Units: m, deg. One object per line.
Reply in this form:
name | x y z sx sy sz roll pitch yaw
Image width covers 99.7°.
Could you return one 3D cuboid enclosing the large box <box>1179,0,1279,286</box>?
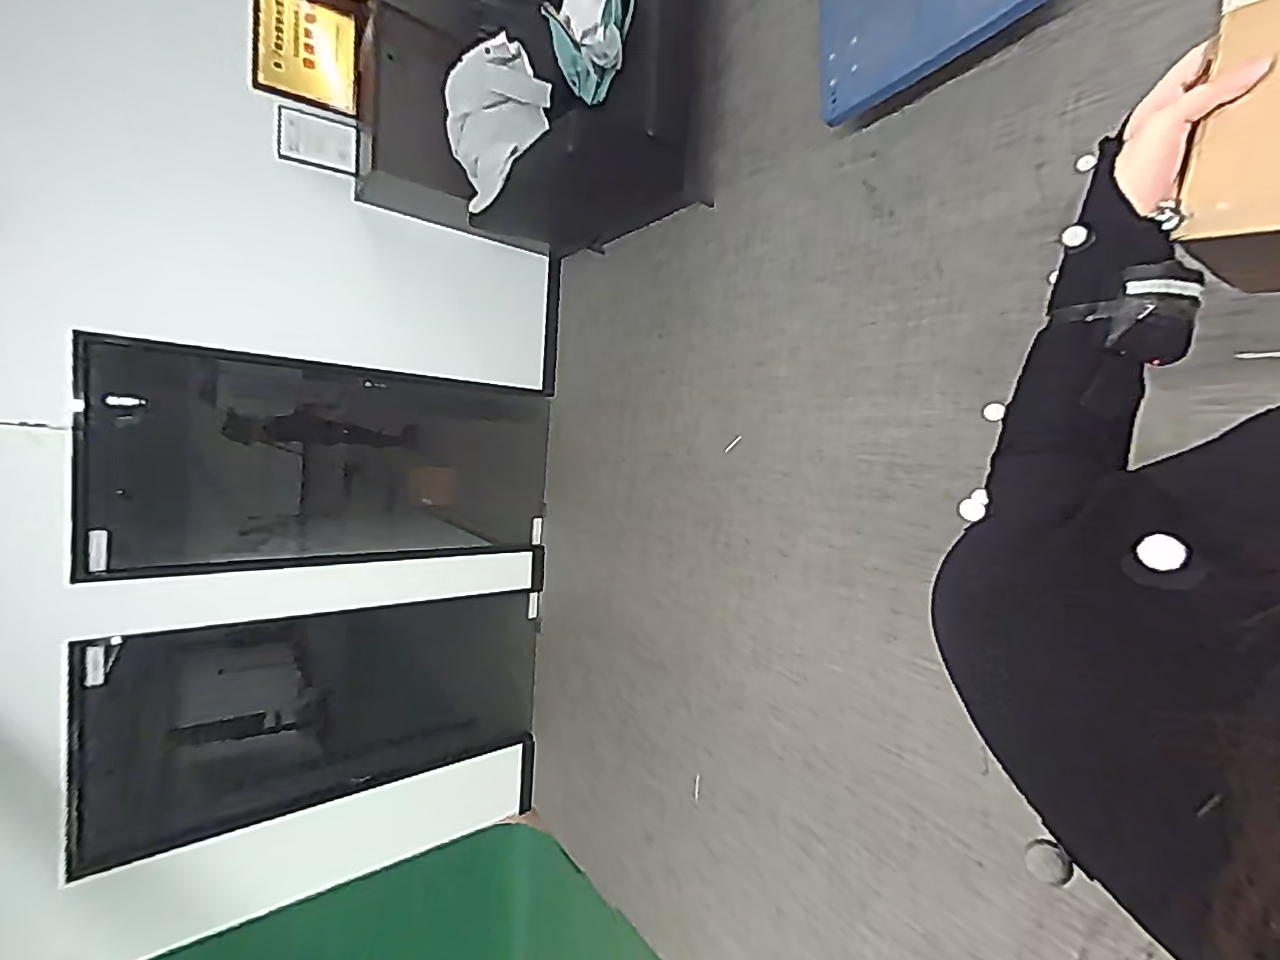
large box | 0.655 -0.305 0.309 0.408 0.320 0.320 19 109 54
